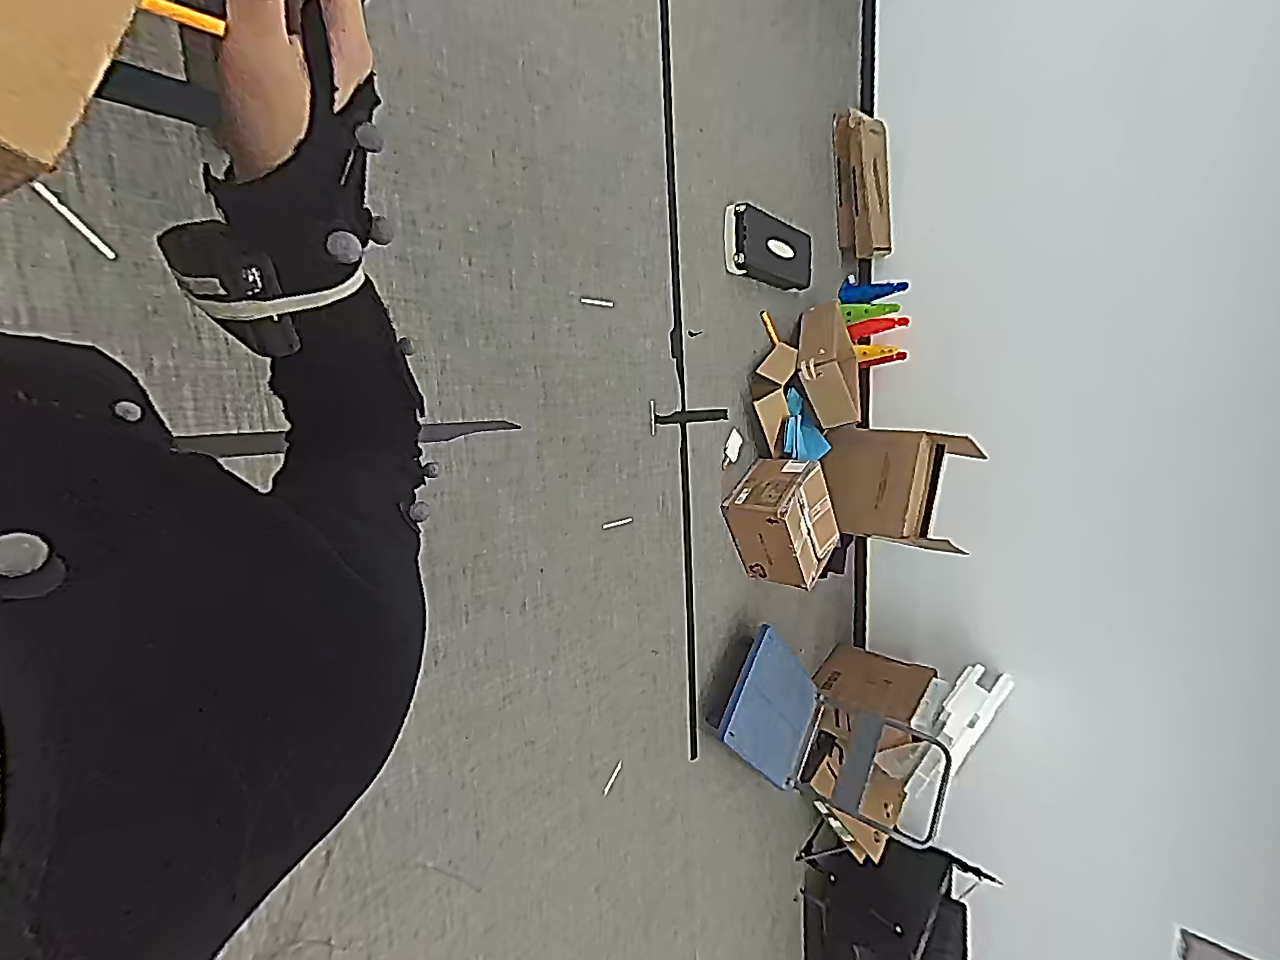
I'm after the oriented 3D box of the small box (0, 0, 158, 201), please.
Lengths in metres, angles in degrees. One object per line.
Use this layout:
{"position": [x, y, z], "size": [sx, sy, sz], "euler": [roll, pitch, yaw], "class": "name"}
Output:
{"position": [-0.264, -0.214, 0.164], "size": [0.168, 0.176, 0.179], "euler": [30, 74, -56], "class": "small box"}
